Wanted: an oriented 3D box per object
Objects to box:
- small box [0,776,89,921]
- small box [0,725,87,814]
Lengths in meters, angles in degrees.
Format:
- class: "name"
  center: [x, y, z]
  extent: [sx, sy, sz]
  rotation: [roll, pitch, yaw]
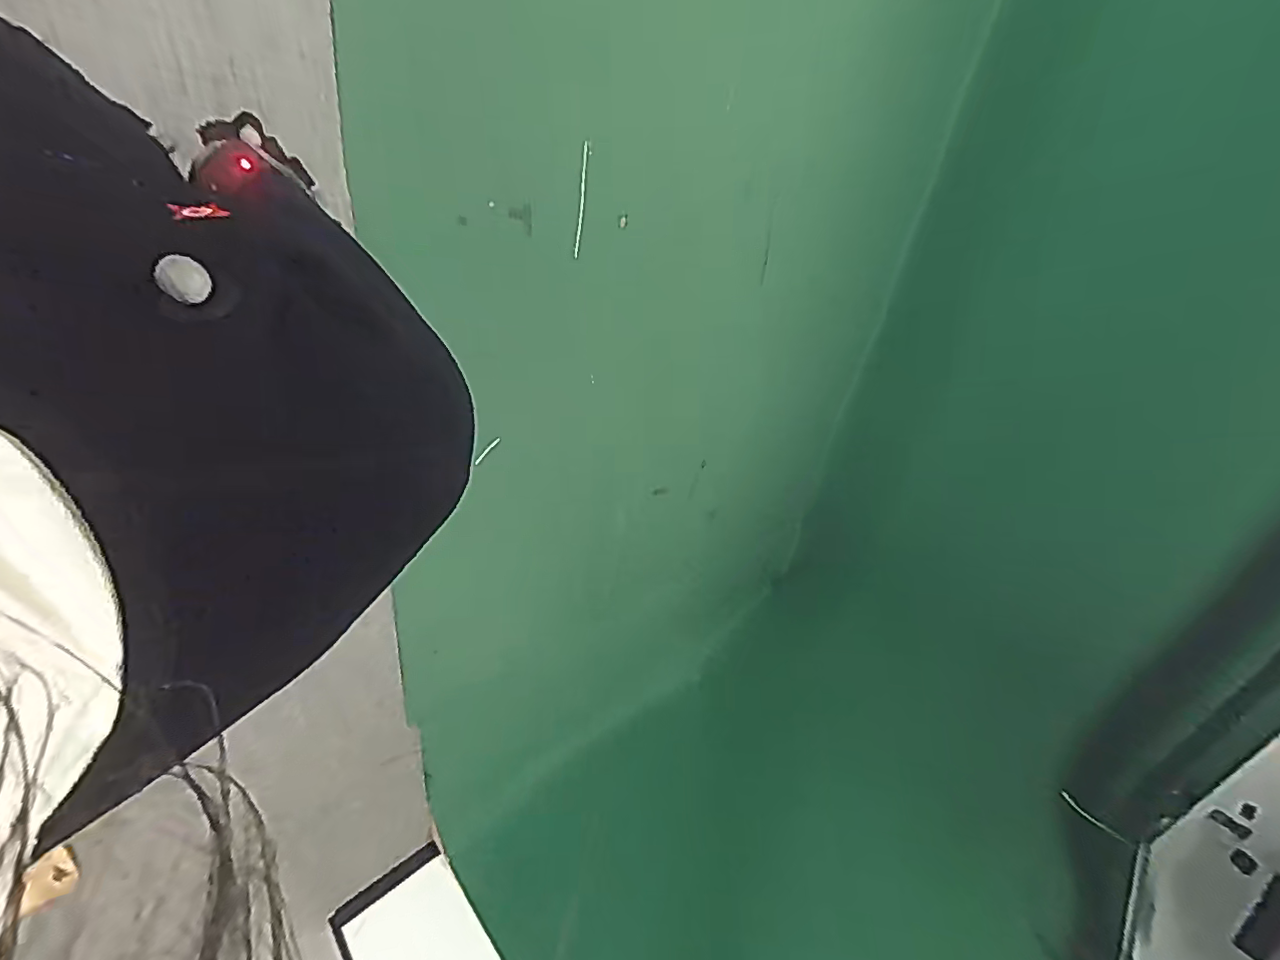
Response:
- class: "small box"
  center: [-1.303, 0.776, 1.134]
  extent: [0.179, 0.176, 0.168]
  rotation: [-16, 129, -42]
- class: "small box"
  center: [-1.415, 0.706, 1.230]
  extent: [0.179, 0.176, 0.168]
  rotation: [-22, 133, -41]
